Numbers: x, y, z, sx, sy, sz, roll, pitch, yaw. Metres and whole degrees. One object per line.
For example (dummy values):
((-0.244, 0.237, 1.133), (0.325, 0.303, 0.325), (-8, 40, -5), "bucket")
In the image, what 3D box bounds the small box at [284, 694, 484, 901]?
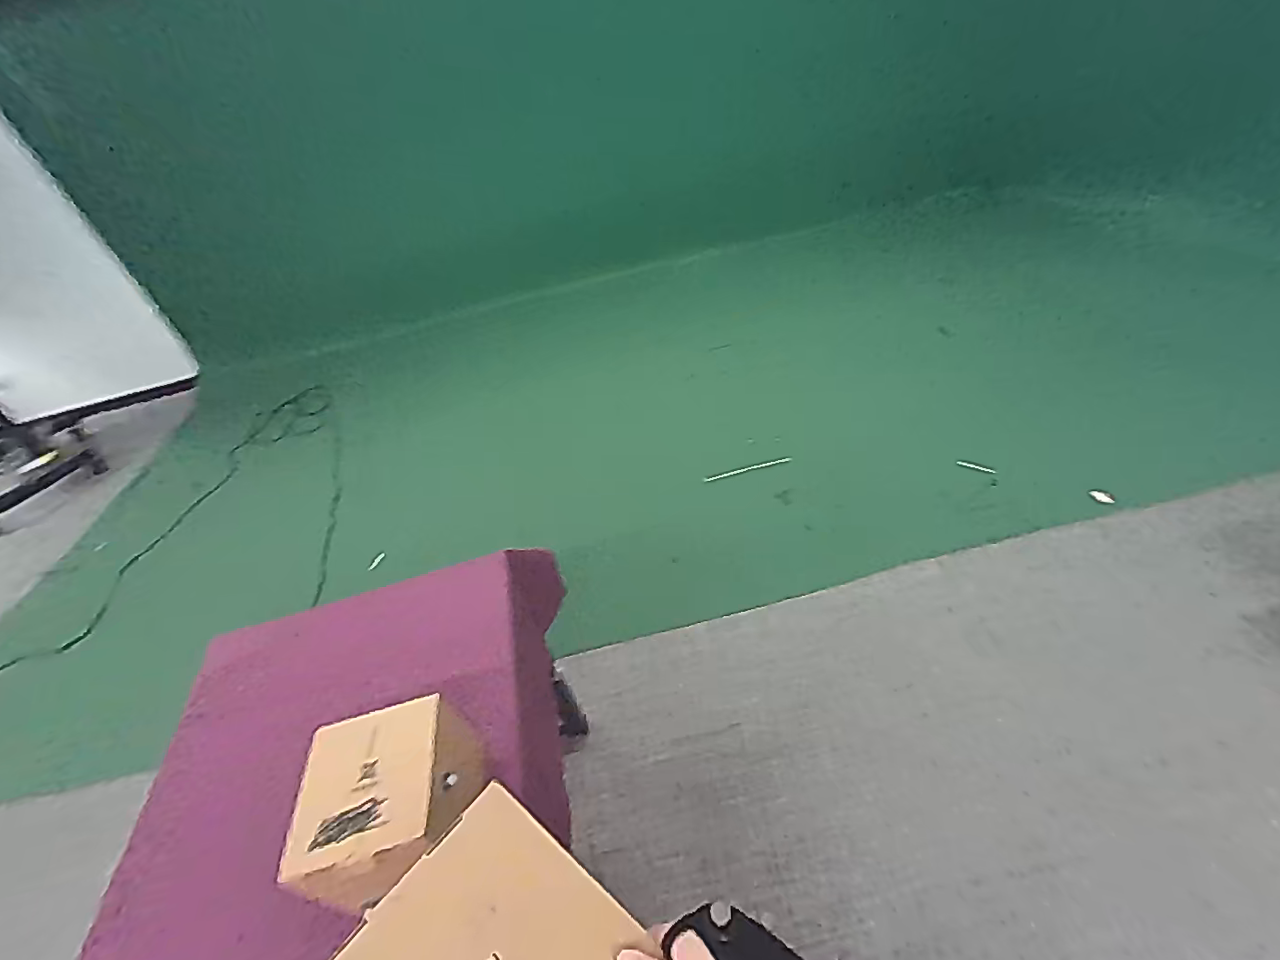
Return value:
((-0.313, 0.419, 0.707), (0.168, 0.176, 0.179), (-16, 40, -2), "small box")

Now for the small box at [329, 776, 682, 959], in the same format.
((-0.088, 0.358, 0.376), (0.179, 0.176, 0.168), (32, 51, 25), "small box")
